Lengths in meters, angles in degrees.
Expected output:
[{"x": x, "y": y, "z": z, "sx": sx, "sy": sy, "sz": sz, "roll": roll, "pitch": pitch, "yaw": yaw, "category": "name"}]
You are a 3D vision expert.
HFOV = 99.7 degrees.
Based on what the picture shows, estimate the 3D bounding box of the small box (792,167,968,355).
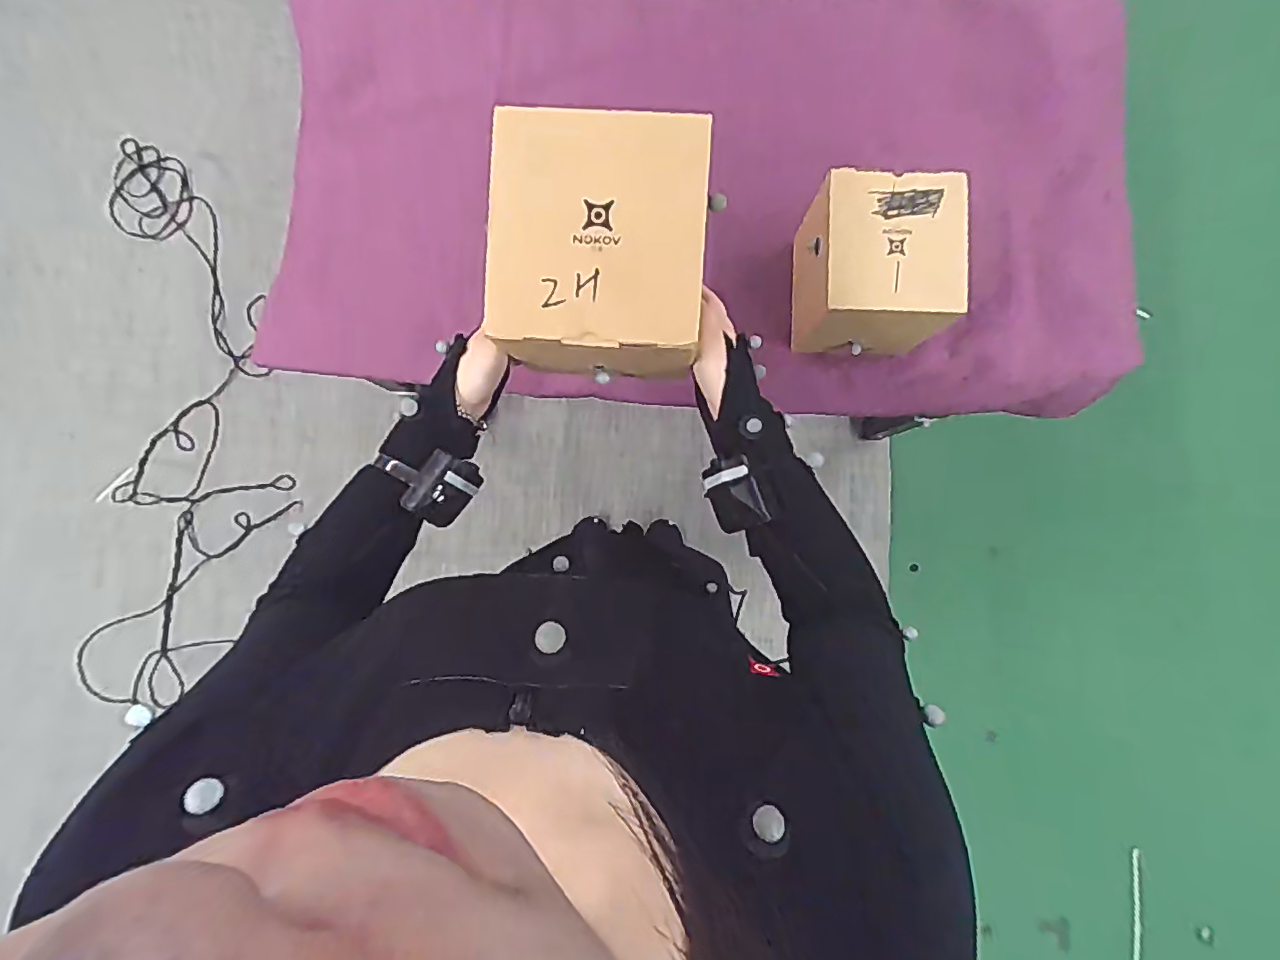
[{"x": 0.307, "y": -0.281, "z": 0.723, "sx": 0.168, "sy": 0.176, "sz": 0.179, "roll": 3, "pitch": 87, "yaw": 1, "category": "small box"}]

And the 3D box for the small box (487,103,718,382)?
[{"x": -0.027, "y": -0.193, "z": 0.485, "sx": 0.168, "sy": 0.176, "sz": 0.179, "roll": 3, "pitch": 91, "yaw": 2, "category": "small box"}]
